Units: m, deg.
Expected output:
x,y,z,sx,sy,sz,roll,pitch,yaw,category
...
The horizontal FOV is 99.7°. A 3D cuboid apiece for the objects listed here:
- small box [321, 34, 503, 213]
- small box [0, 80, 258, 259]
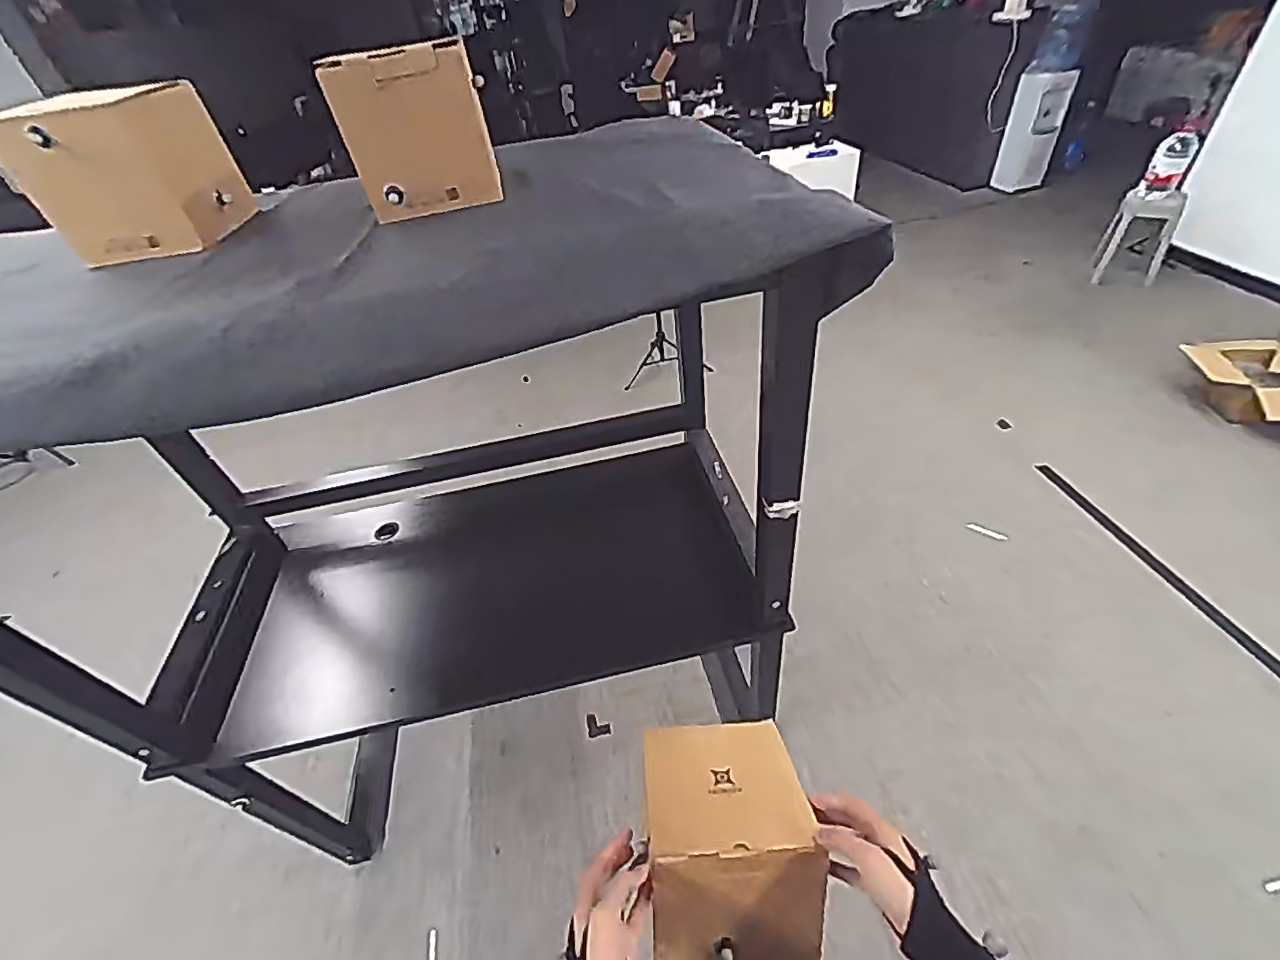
x,y,z,sx,sy,sz,roll,pitch,yaw,category
-0.287,-0.473,0.725,0.168,0.176,0.179,-13,42,-5,small box
-0.660,-0.414,0.723,0.168,0.176,0.179,-9,42,0,small box
